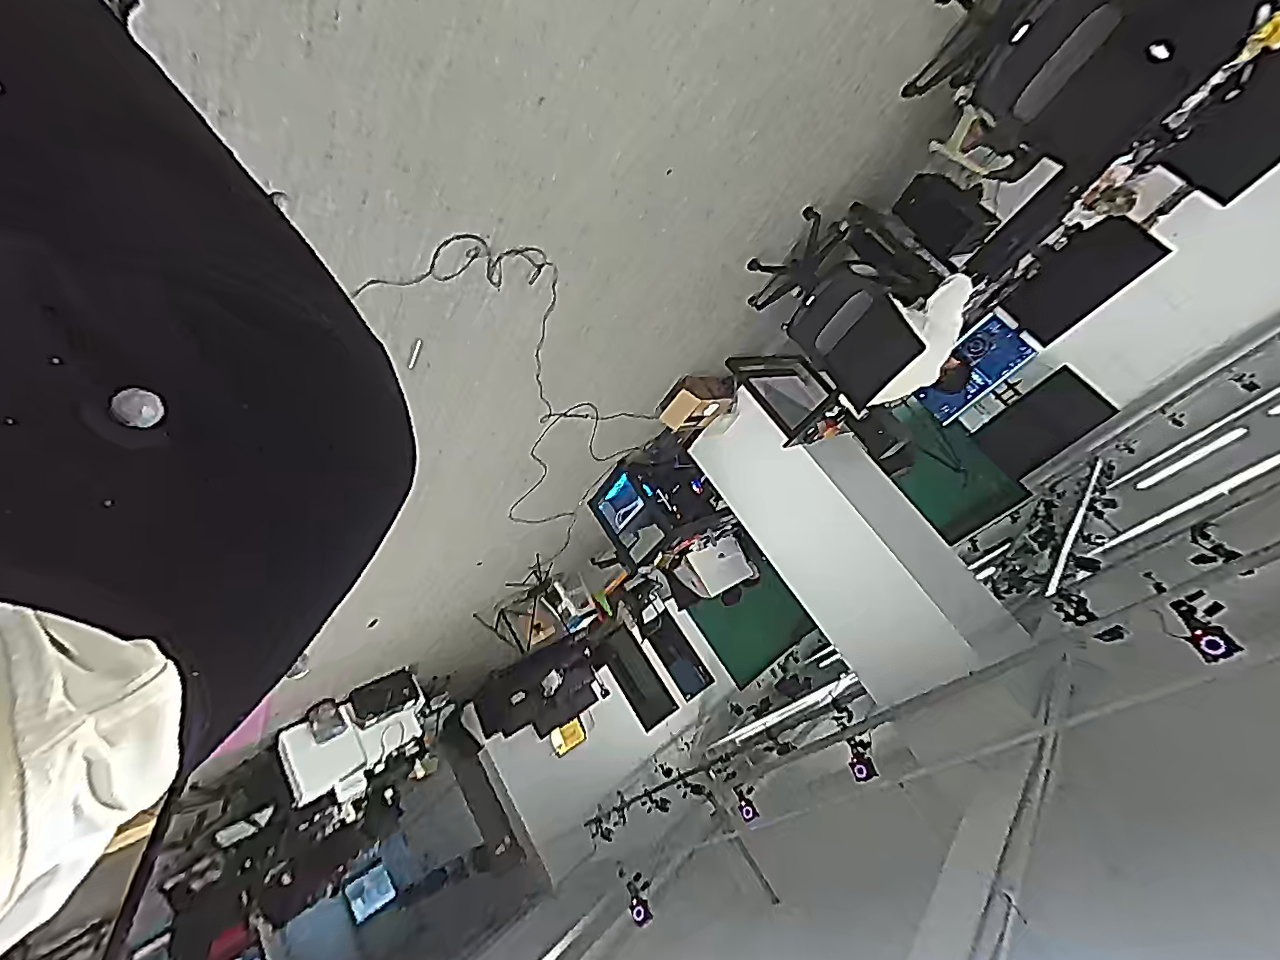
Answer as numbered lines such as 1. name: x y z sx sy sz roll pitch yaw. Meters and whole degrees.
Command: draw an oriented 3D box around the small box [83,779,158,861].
1. small box: -1.823 1.189 1.899 0.168 0.176 0.179 -12 151 -48
